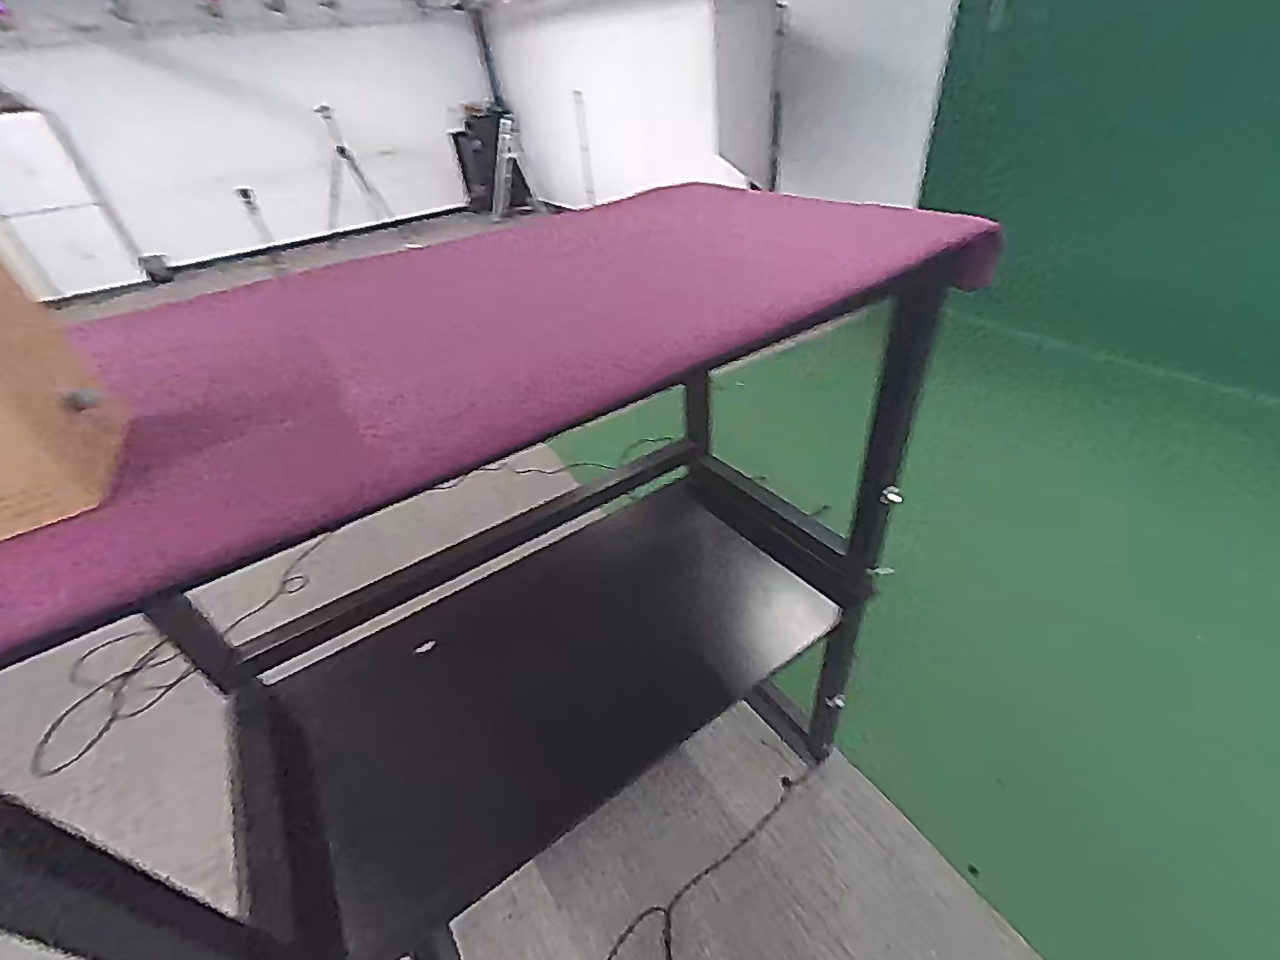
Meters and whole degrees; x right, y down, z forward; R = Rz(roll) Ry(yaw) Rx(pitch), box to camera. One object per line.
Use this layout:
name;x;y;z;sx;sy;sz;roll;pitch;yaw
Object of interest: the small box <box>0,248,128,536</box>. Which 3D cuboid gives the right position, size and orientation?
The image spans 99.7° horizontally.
small box;-0.486;-0.052;0.338;0.179;0.176;0.168;-25;41;-24
